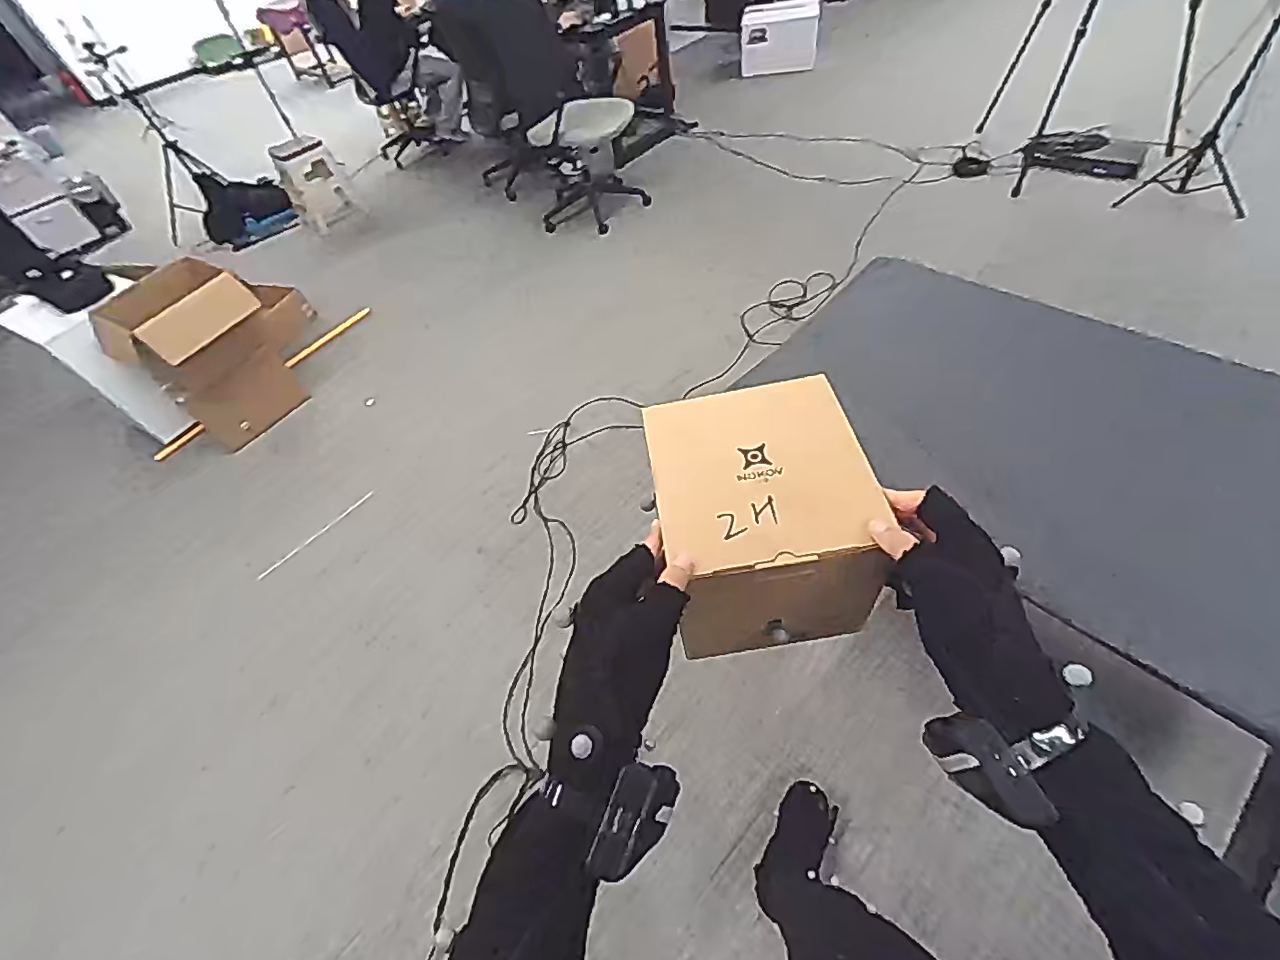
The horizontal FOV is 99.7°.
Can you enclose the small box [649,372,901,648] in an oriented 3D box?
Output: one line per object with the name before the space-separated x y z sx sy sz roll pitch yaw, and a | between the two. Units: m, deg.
small box | 0.105 0.032 0.494 0.168 0.176 0.179 -10 53 3
